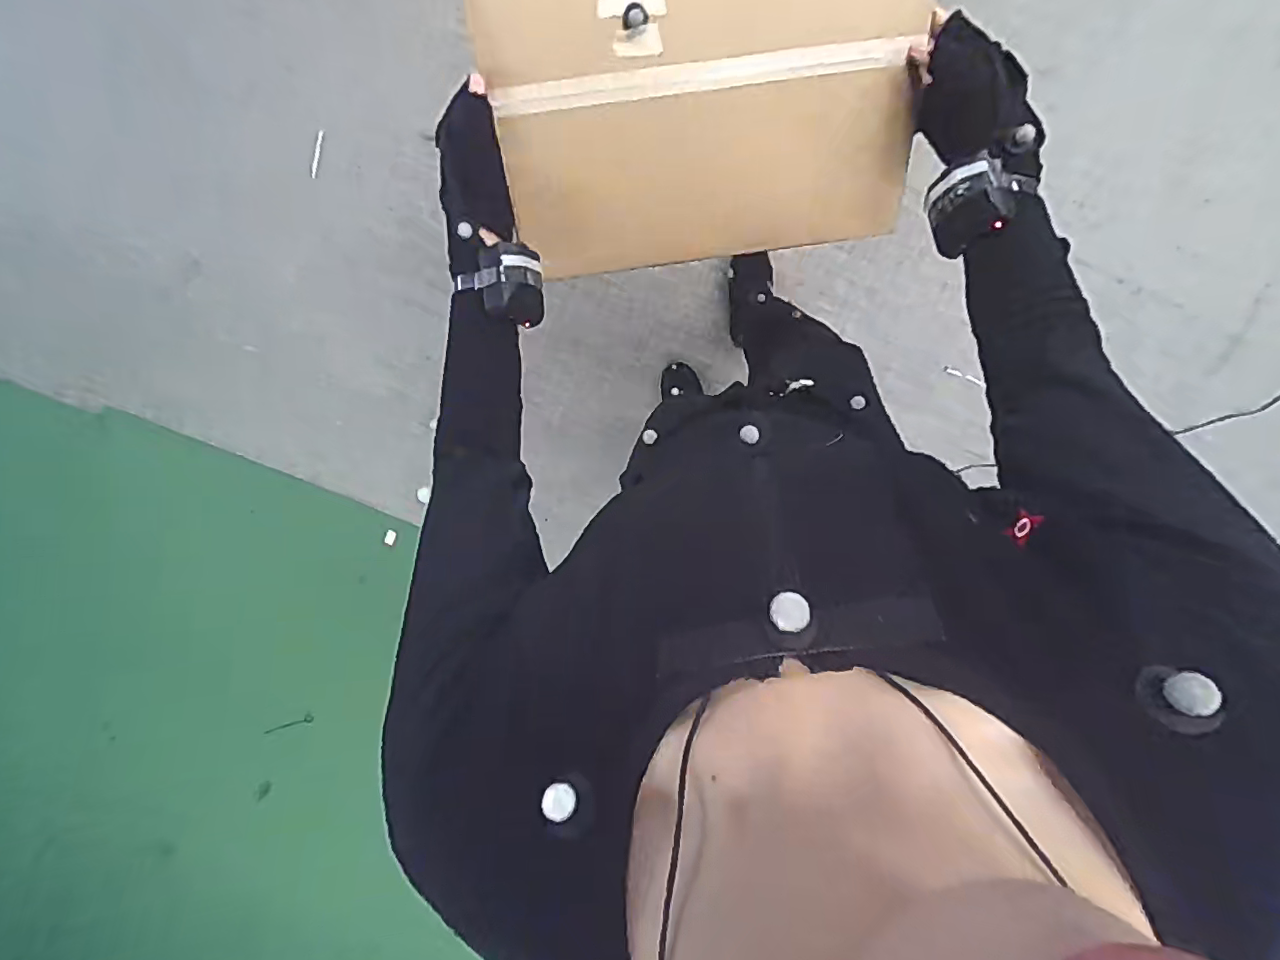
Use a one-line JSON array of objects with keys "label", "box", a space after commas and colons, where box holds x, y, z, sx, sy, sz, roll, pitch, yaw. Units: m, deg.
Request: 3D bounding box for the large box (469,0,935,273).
[{"label": "large box", "box": [0.049, -0.452, 0.603, 0.408, 0.320, 0.320, -8, 124, -2]}]
